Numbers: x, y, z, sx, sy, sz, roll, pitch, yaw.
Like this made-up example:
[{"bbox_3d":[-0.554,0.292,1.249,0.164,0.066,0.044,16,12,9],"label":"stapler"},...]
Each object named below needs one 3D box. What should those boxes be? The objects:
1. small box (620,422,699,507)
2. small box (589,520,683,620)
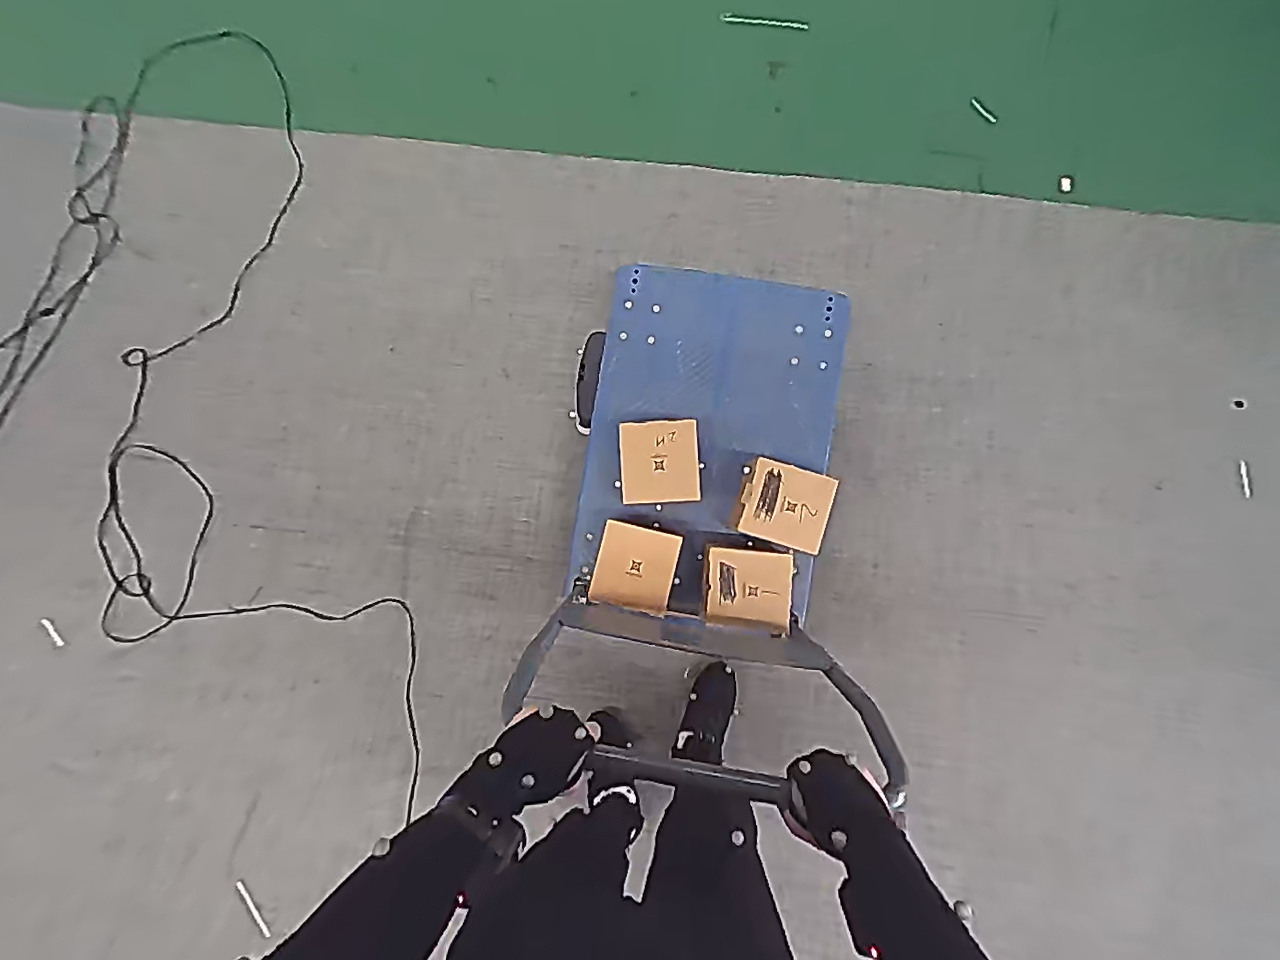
[{"bbox_3d":[0.044,-0.029,1.218,0.168,0.176,0.179,-2,86,1],"label":"small box"},{"bbox_3d":[-0.008,0.192,1.206,0.168,0.176,0.179,14,87,2],"label":"small box"}]
